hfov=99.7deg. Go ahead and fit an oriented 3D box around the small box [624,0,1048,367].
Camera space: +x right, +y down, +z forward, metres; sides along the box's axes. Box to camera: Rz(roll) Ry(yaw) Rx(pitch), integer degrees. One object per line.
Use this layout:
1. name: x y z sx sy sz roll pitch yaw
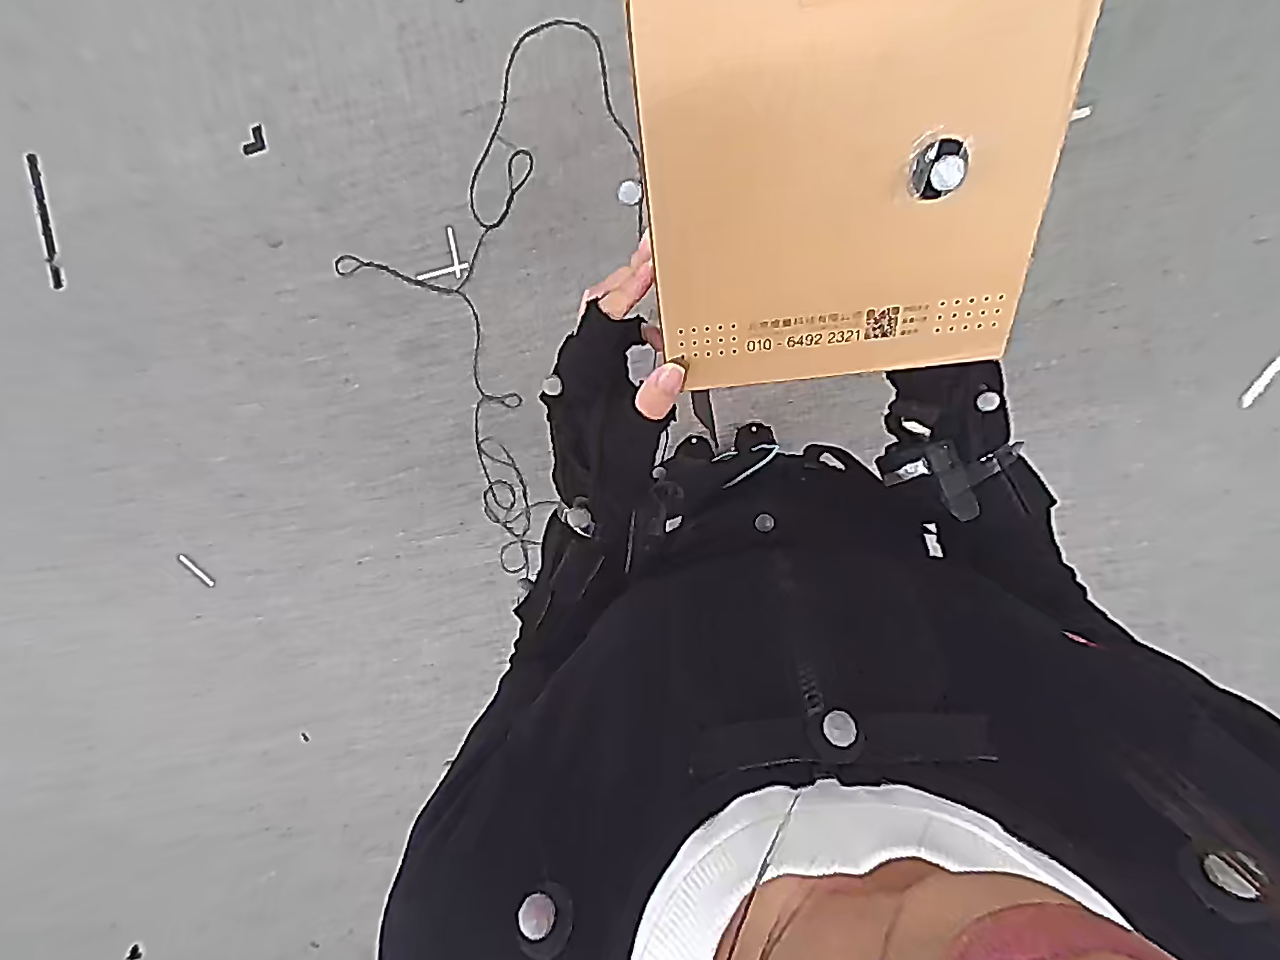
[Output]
1. small box: 0.090 -0.173 0.310 0.168 0.179 0.176 -4 126 7
